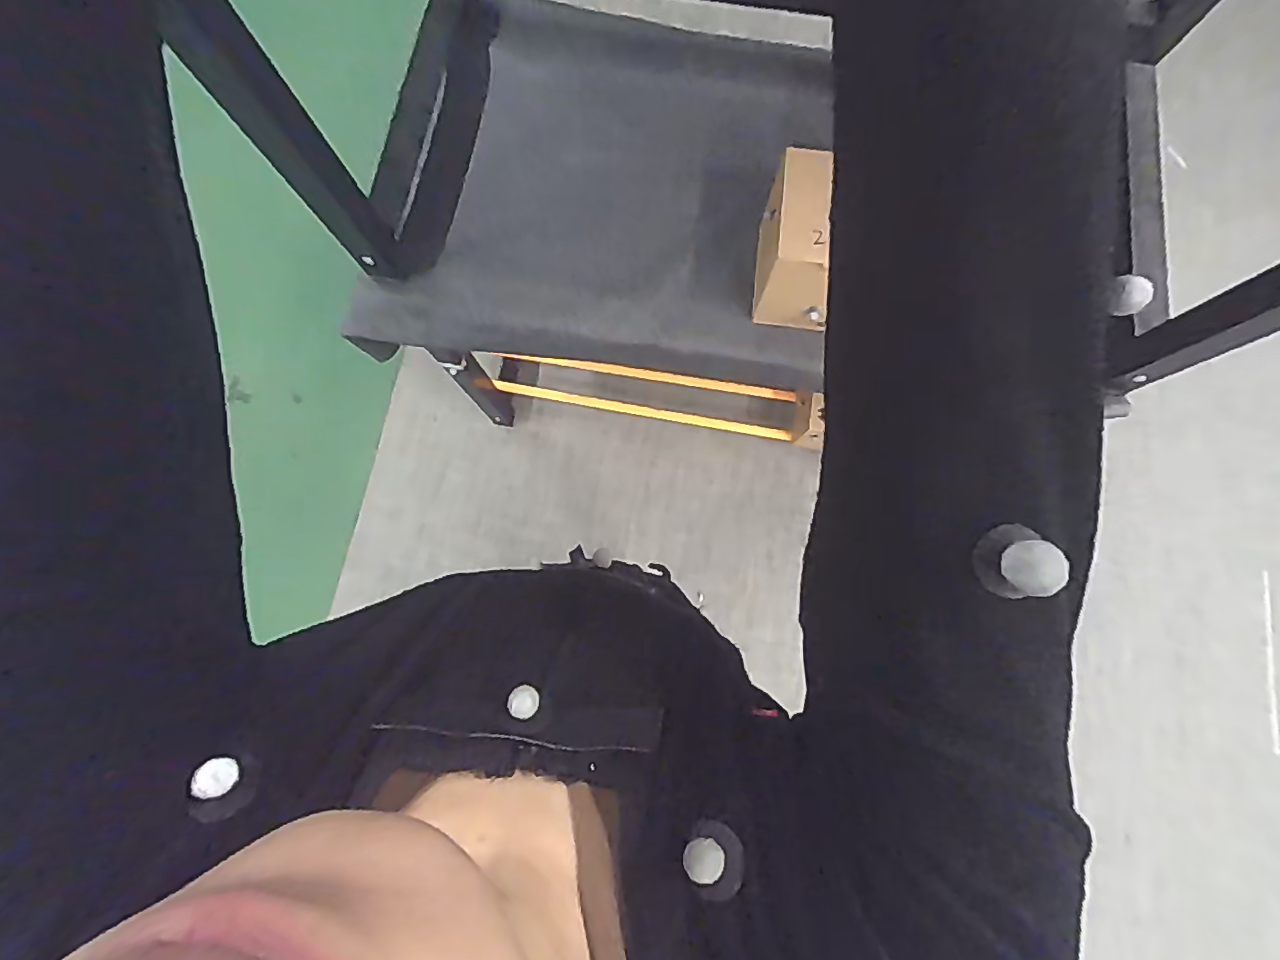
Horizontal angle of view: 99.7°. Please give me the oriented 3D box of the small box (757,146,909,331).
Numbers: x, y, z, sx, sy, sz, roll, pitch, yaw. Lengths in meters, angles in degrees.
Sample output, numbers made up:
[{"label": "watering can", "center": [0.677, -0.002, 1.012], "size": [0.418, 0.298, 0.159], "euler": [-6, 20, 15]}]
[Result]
[{"label": "small box", "center": [0.273, -0.346, 0.796], "size": [0.168, 0.176, 0.179], "euler": [7, 77, 2]}]
